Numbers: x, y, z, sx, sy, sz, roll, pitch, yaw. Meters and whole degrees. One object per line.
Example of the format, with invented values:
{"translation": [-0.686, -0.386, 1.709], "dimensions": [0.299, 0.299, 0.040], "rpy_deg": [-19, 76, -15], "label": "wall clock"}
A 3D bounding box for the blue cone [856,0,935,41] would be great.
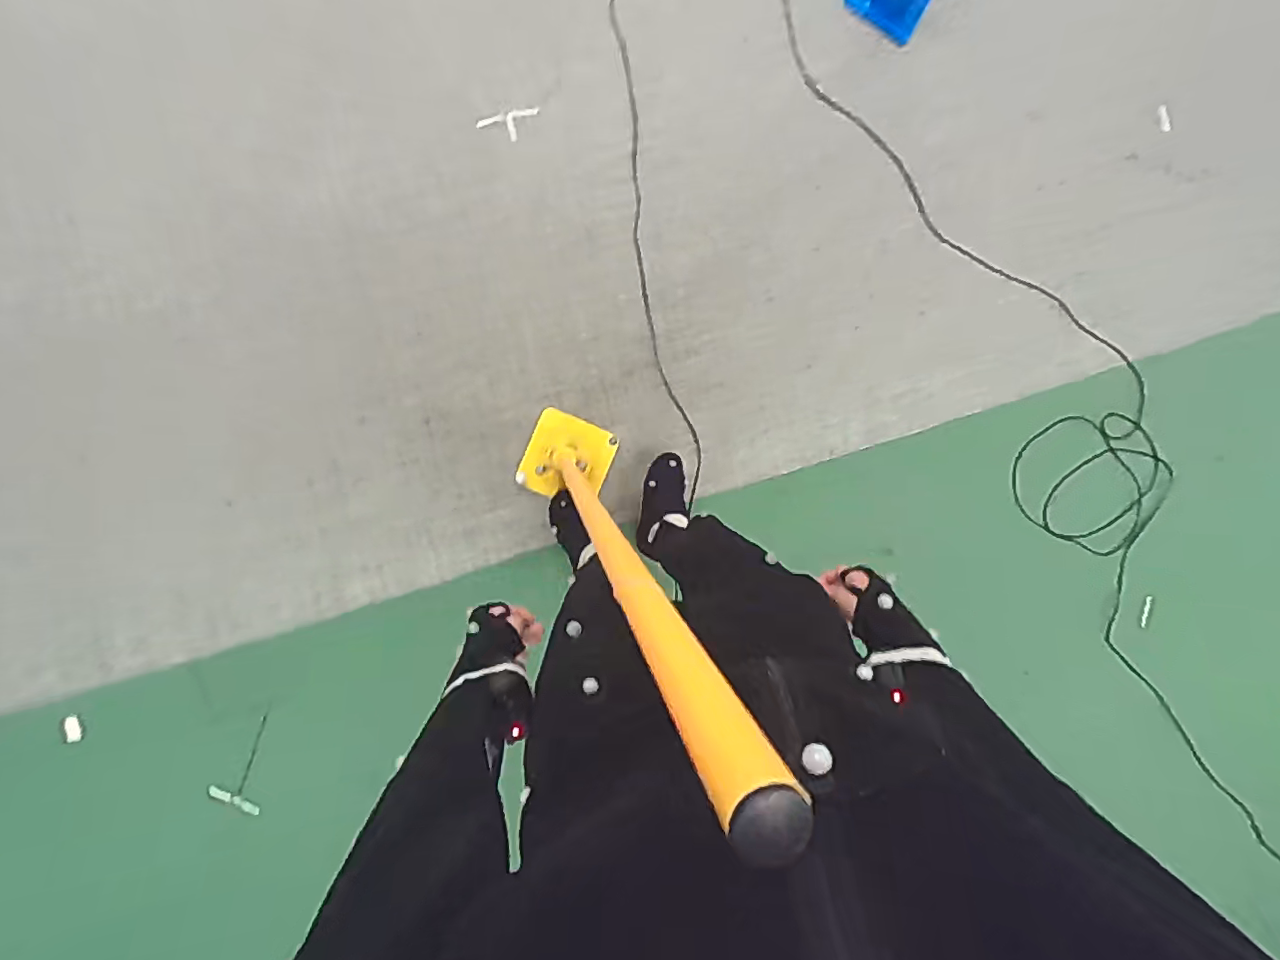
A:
{"translation": [0.658, -1.211, 1.177], "dimensions": [0.192, 0.380, 0.193], "rpy_deg": [28, 86, -6], "label": "blue cone"}
